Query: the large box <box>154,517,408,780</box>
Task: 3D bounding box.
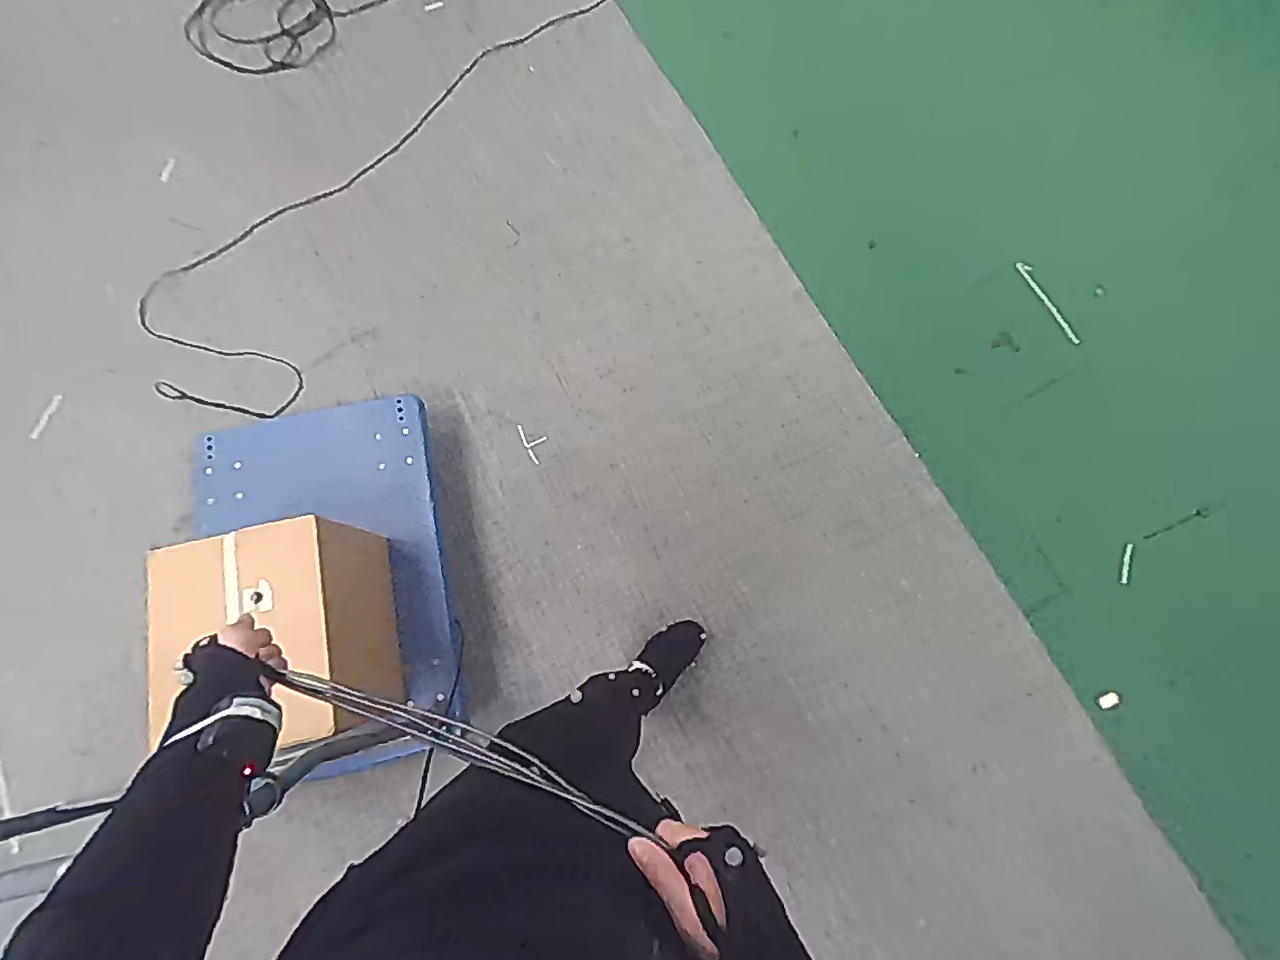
[{"bbox_3d":[-0.715,0.329,1.115,0.320,0.320,0.408,-13,75,-4],"label":"large box"}]
